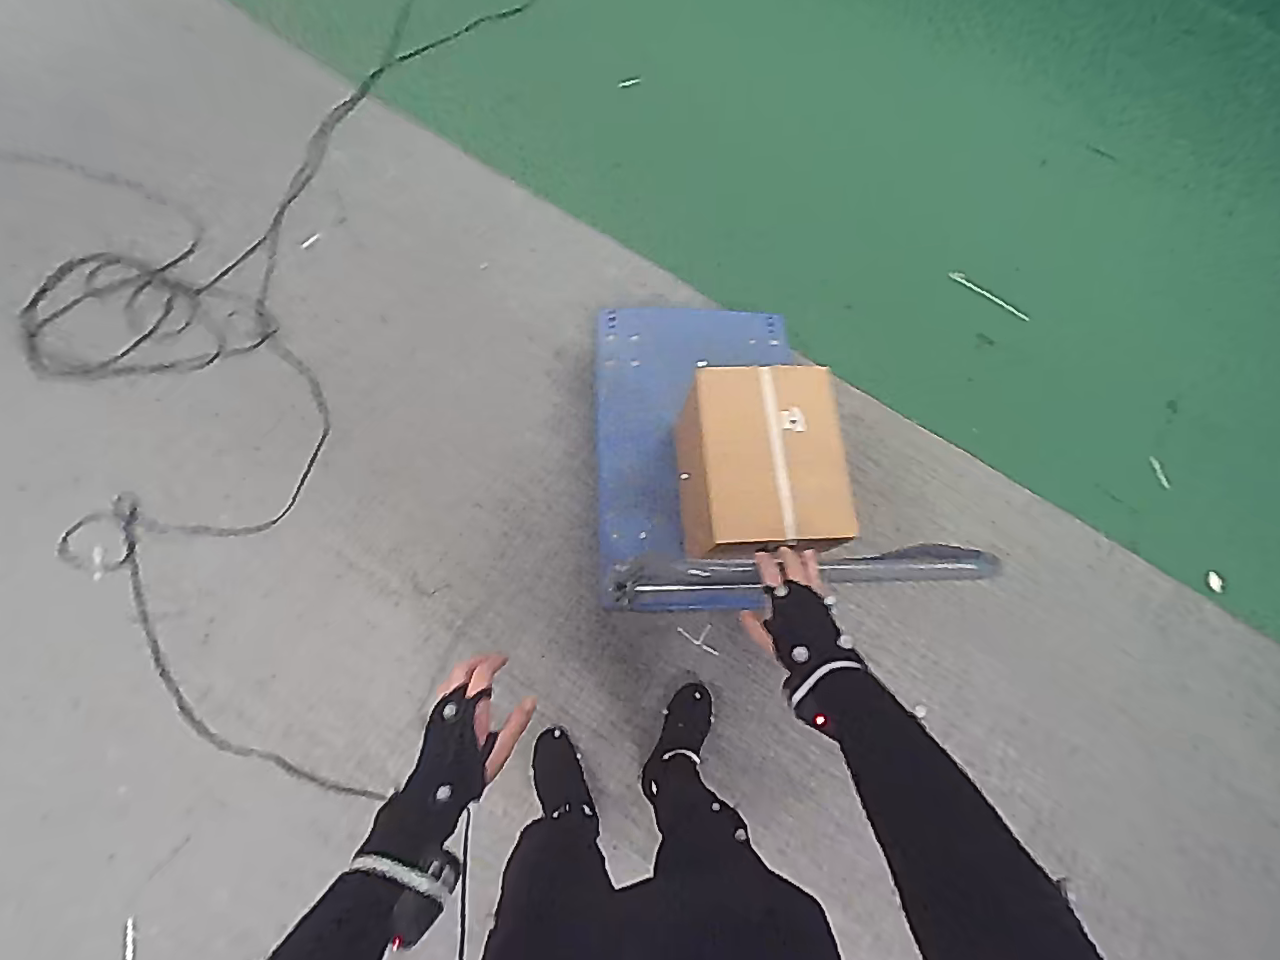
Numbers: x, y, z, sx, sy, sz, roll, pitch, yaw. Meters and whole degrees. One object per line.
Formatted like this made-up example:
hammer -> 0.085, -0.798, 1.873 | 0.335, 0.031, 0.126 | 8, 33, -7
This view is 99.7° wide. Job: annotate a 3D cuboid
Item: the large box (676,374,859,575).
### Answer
large box -> 0.276, -0.002, 1.305 | 0.320, 0.320, 0.408 | -1, 71, -8
